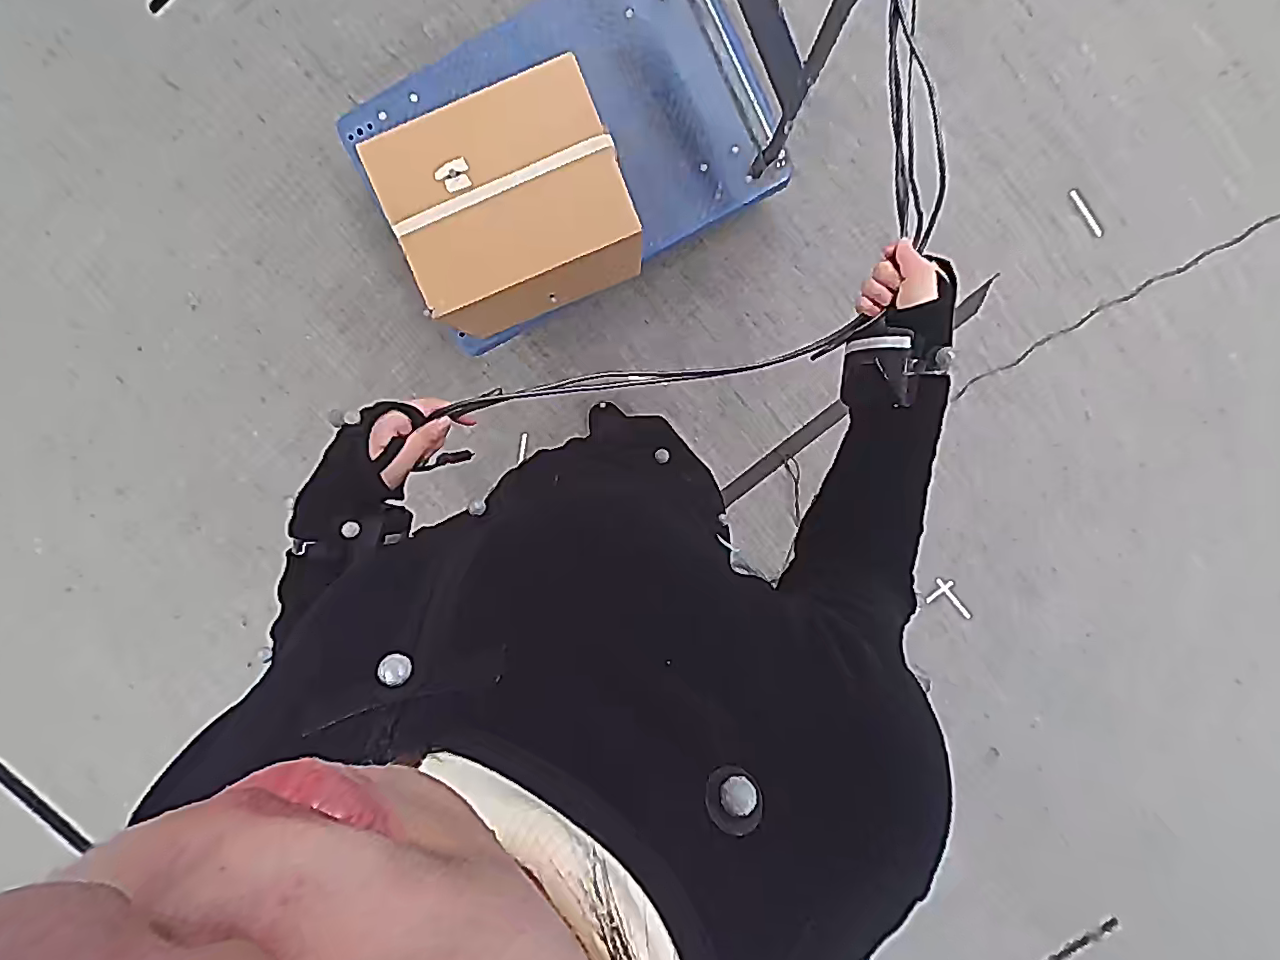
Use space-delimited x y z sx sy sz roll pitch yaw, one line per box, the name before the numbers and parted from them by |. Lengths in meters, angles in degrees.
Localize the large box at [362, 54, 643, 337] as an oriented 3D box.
large box | -0.236 -0.518 1.073 0.408 0.320 0.320 -22 97 3
